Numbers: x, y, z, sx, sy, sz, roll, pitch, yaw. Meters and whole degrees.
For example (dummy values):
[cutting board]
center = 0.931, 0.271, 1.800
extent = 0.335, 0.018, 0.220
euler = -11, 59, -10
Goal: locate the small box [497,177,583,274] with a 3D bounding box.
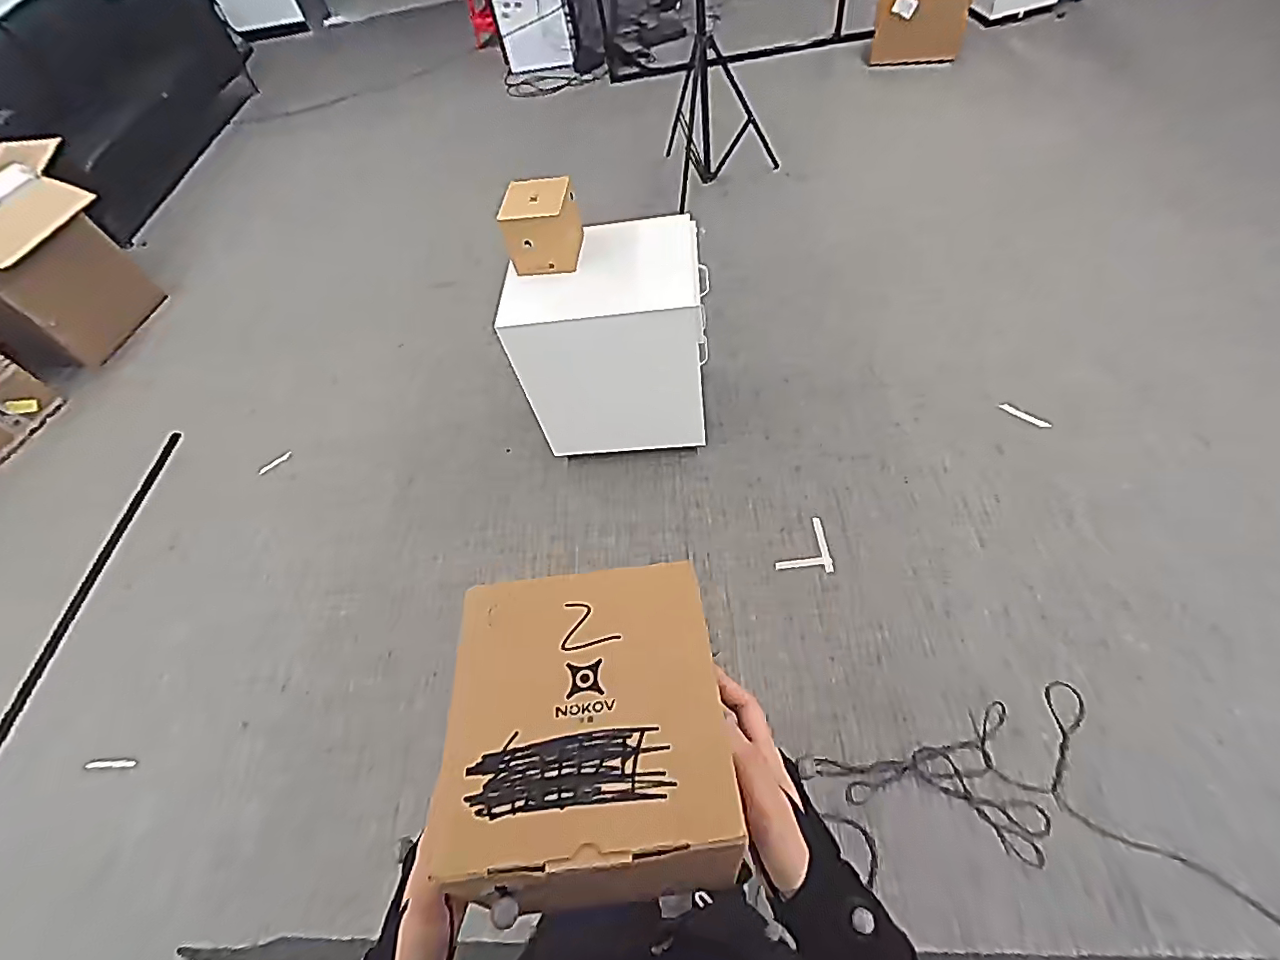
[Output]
[small box]
center = -0.255, -0.663, 1.427
extent = 0.168, 0.176, 0.179
euler = -1, 56, 9
